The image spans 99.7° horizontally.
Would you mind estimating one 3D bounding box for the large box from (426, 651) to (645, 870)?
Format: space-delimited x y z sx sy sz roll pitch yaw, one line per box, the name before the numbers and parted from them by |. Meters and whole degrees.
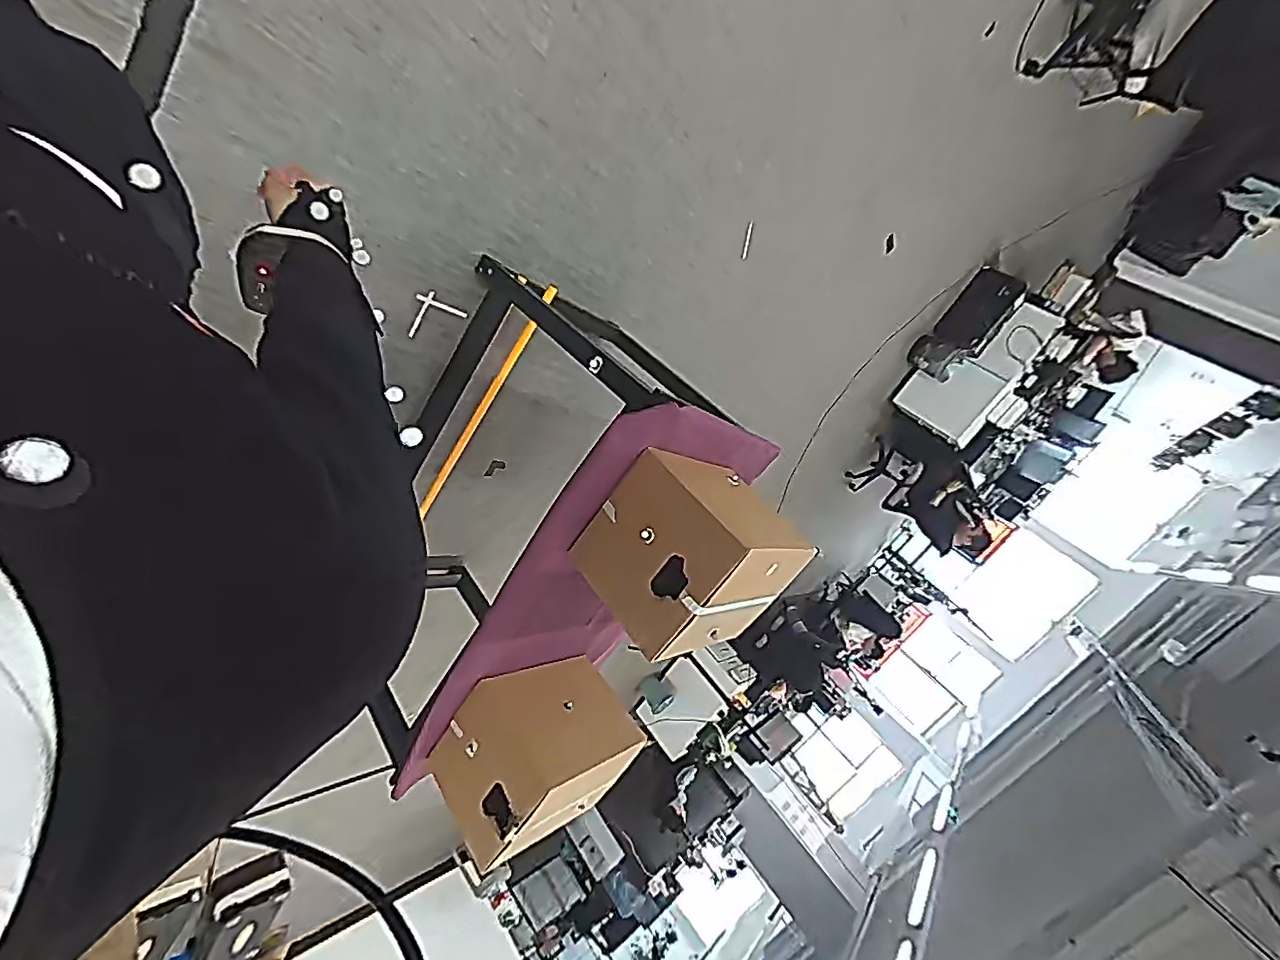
large box | -0.271 0.701 1.429 0.320 0.320 0.408 -54 150 16
